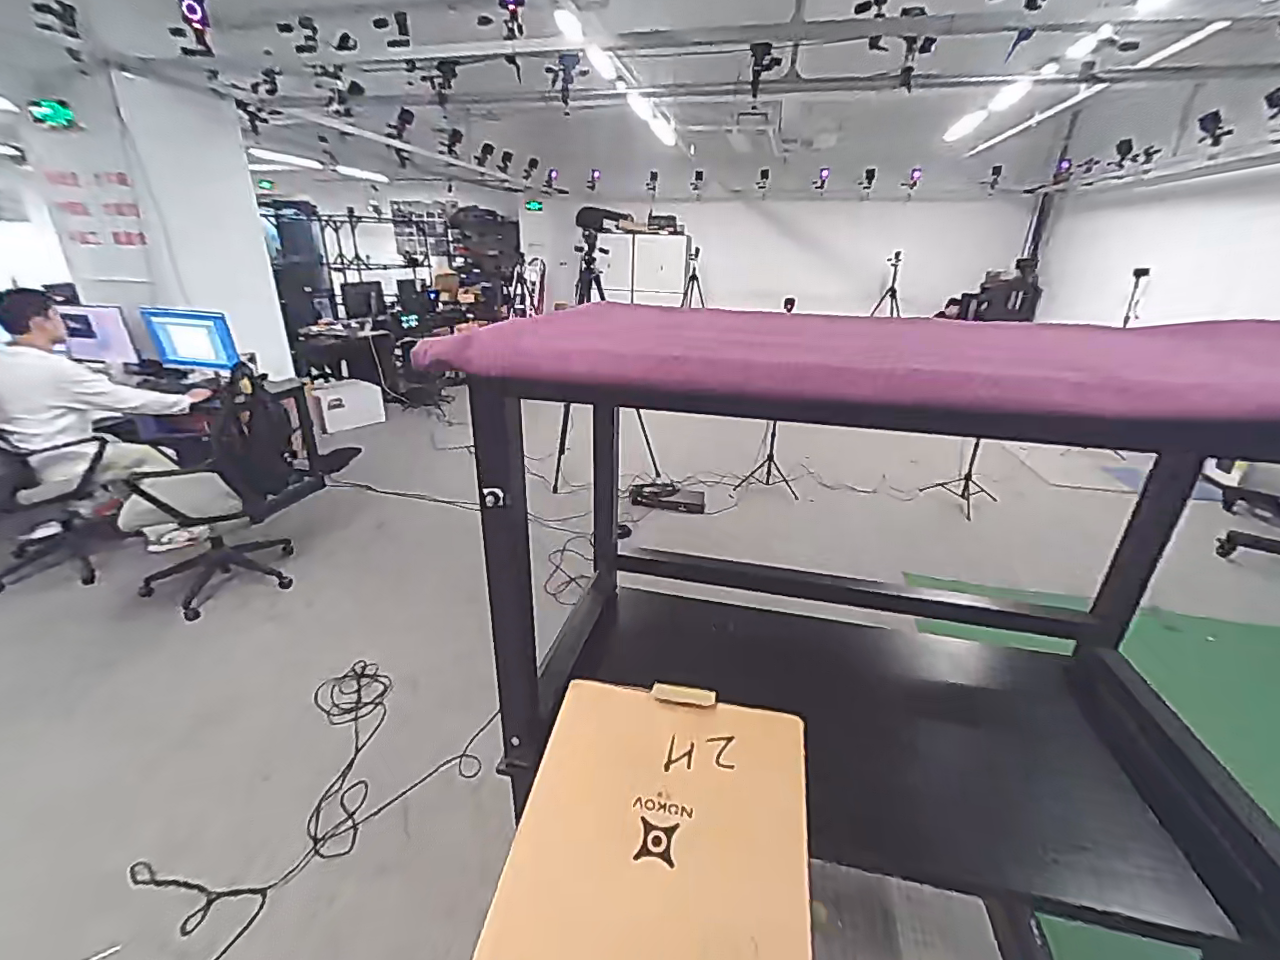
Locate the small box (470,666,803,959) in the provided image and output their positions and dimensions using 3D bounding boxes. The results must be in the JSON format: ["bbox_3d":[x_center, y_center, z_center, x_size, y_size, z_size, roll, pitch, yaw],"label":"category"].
[{"bbox_3d":[0.014,0.260,0.364,0.168,0.176,0.179,6,35,10],"label":"small box"}]
